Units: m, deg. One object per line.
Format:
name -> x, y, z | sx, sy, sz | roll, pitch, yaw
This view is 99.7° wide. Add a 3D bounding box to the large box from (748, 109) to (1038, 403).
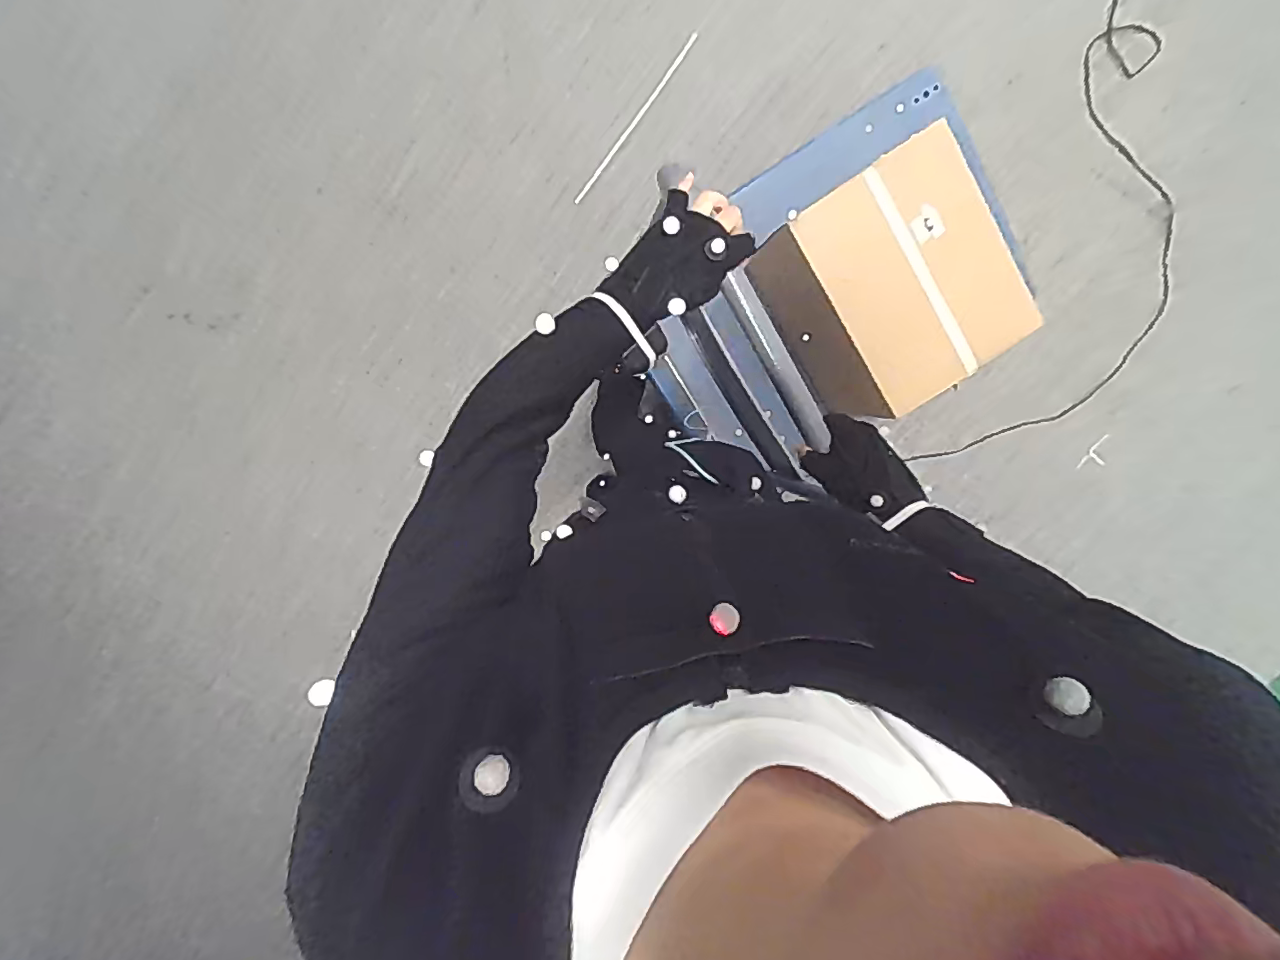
large box -> 0.475, -0.406, 1.092 | 0.320, 0.320, 0.408 | -33, 99, 3
